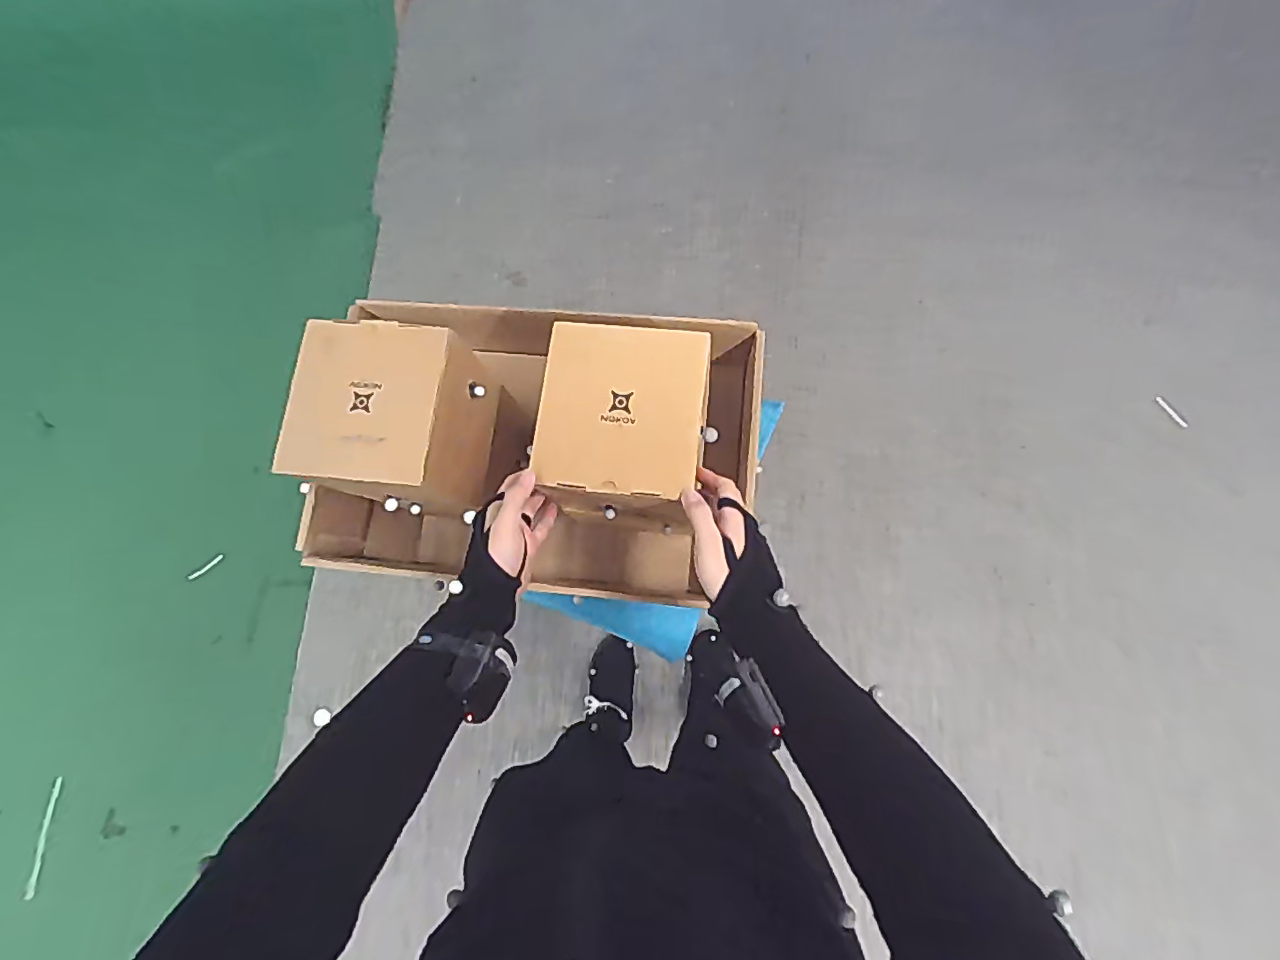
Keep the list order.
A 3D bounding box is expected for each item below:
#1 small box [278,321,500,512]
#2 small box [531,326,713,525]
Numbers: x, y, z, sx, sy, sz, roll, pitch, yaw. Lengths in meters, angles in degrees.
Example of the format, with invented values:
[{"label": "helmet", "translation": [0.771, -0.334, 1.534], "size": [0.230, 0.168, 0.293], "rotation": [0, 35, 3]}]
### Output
[{"label": "small box", "translation": [-0.281, -0.067, 0.650], "size": [0.168, 0.176, 0.179], "rotation": [6, 79, 6]}, {"label": "small box", "translation": [-0.010, -0.053, 0.619], "size": [0.168, 0.176, 0.179], "rotation": [6, 79, 7]}]
